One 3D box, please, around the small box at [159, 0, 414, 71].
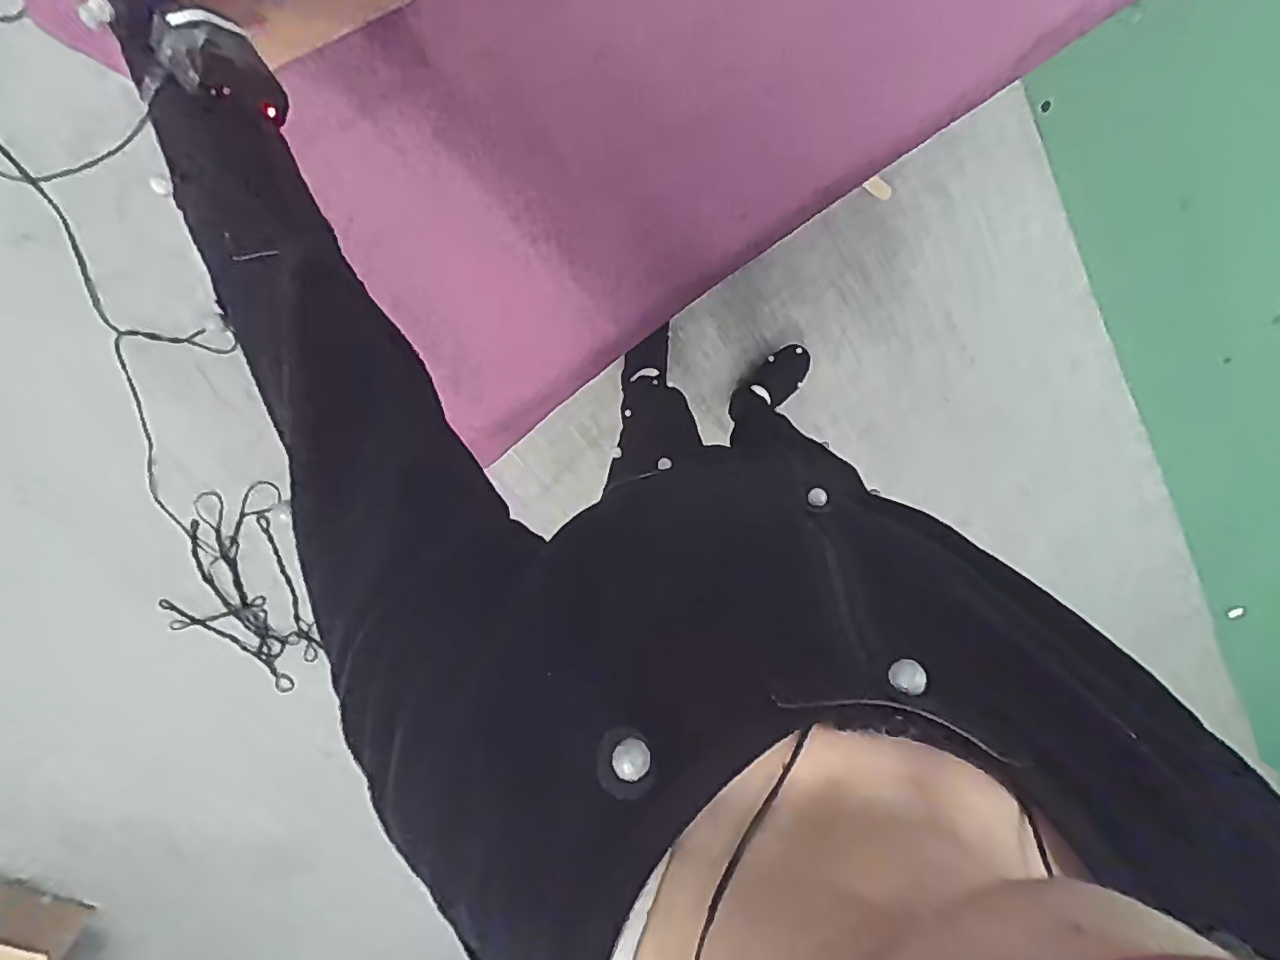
[{"bbox_3d":[-0.318,-0.485,0.447,0.179,0.176,0.168,-24,112,3],"label":"small box"}]
